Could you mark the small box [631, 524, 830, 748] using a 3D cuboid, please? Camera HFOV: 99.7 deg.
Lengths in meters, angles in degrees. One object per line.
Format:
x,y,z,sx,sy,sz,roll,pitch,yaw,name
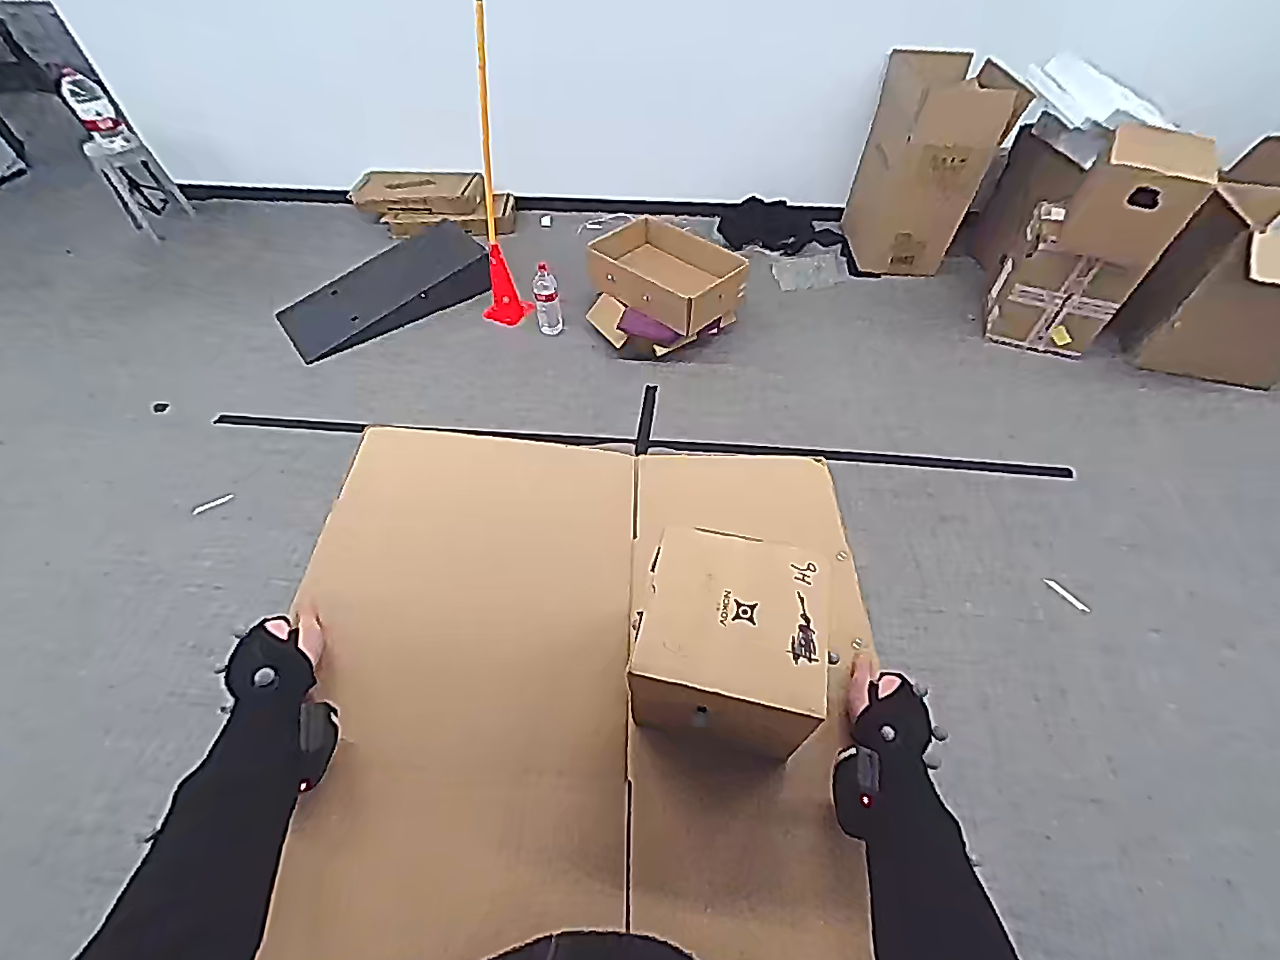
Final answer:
0.097,0.173,0.589,0.179,0.176,0.168,10,53,10,small box
